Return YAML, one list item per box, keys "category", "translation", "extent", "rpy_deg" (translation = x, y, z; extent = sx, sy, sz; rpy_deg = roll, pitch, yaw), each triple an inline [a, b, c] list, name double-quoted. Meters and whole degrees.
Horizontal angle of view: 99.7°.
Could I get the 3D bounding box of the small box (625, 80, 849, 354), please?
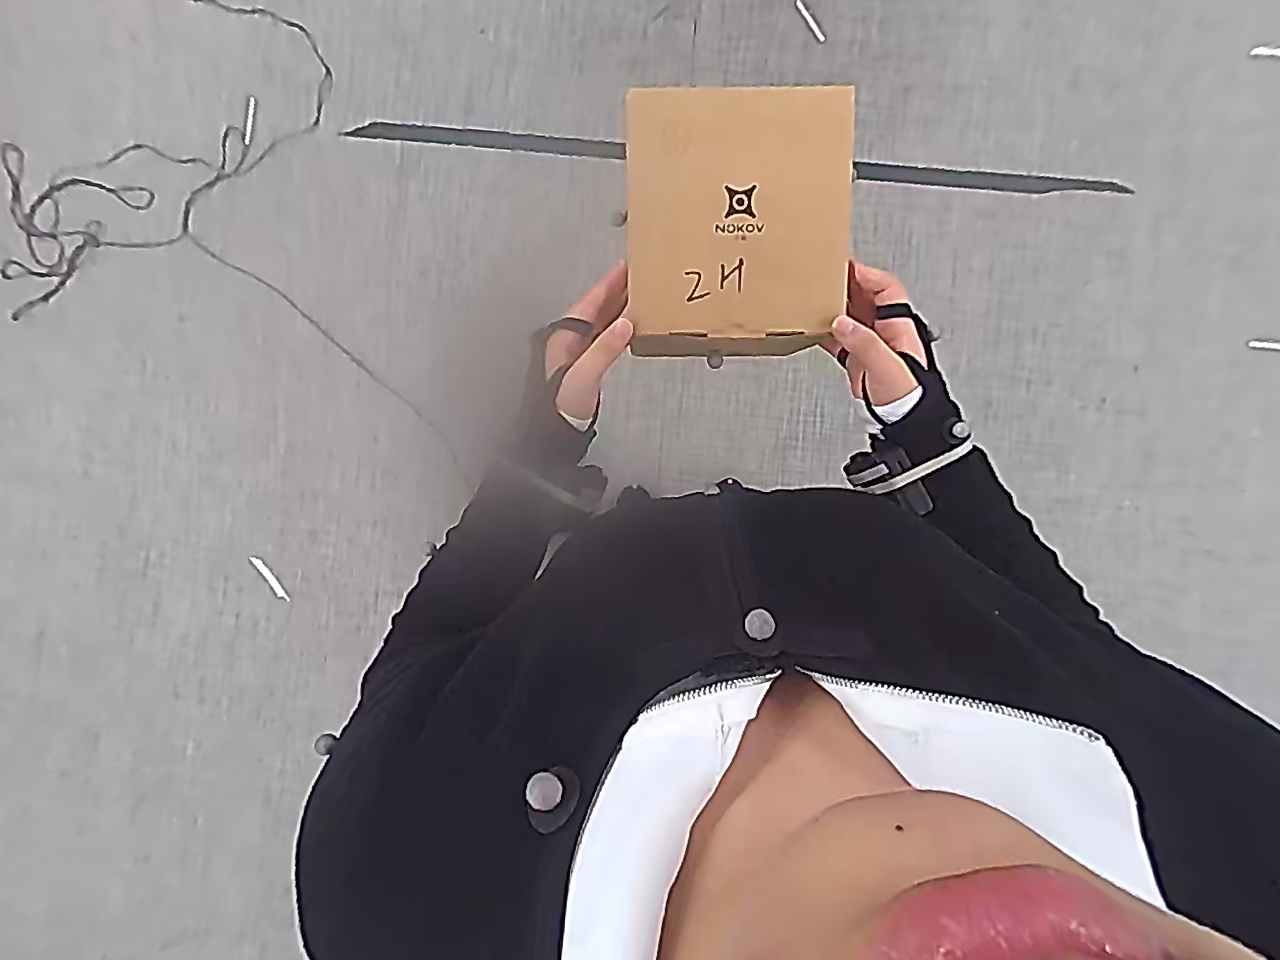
- category: "small box"
  translation: [0.071, -0.211, 0.479]
  extent: [0.168, 0.176, 0.179]
  rpy_deg: [0, 97, 1]
